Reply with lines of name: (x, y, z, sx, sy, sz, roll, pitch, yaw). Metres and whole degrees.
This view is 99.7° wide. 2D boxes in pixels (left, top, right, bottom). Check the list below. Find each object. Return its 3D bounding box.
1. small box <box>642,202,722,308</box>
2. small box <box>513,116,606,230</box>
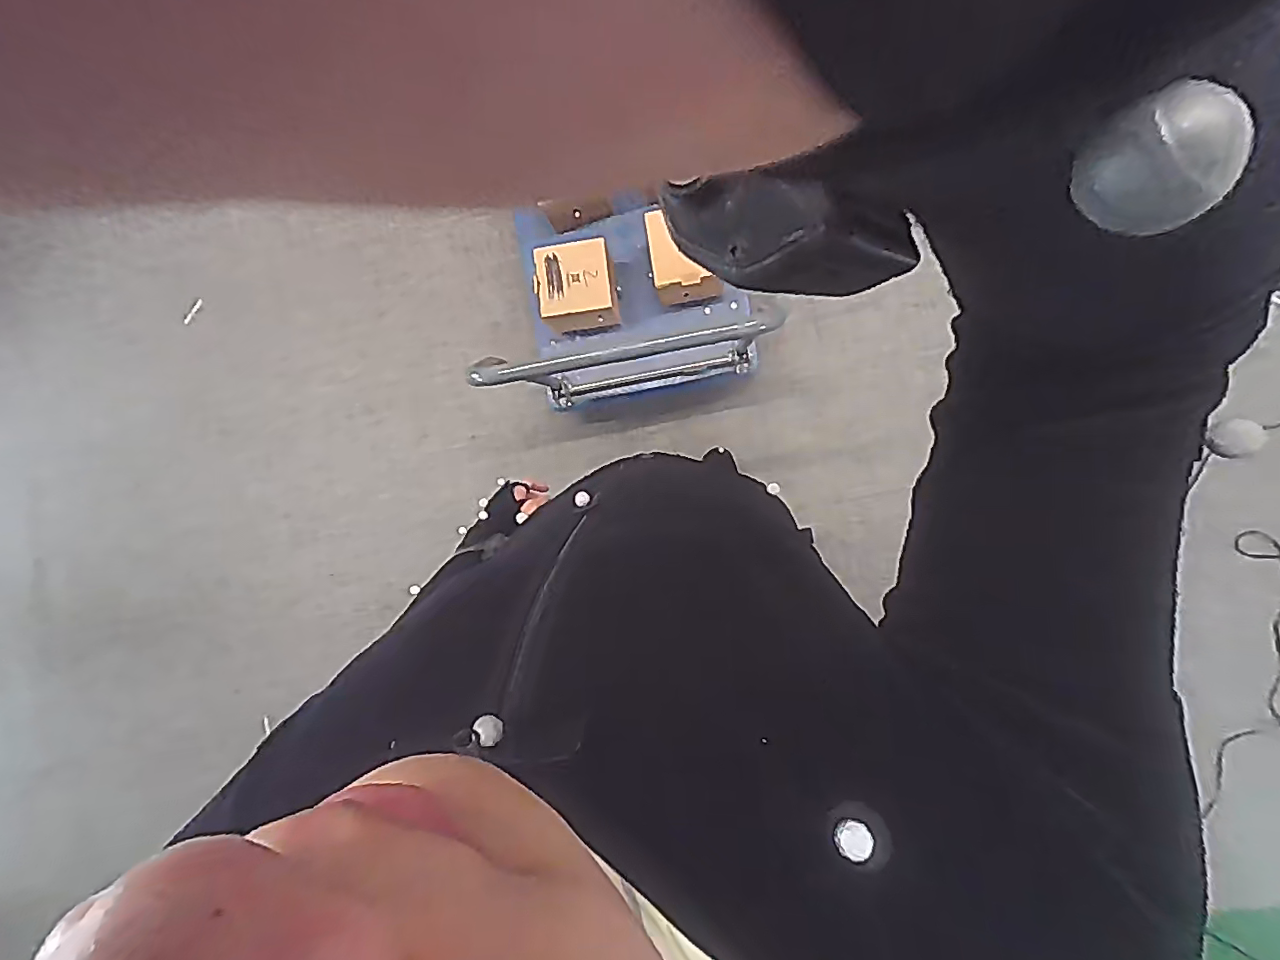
small box: (0.102, -0.545, 1.331, 0.168, 0.176, 0.179, -10, 92, 6)
small box: (-0.191, -0.749, 1.348, 0.168, 0.176, 0.179, -17, 92, 6)
